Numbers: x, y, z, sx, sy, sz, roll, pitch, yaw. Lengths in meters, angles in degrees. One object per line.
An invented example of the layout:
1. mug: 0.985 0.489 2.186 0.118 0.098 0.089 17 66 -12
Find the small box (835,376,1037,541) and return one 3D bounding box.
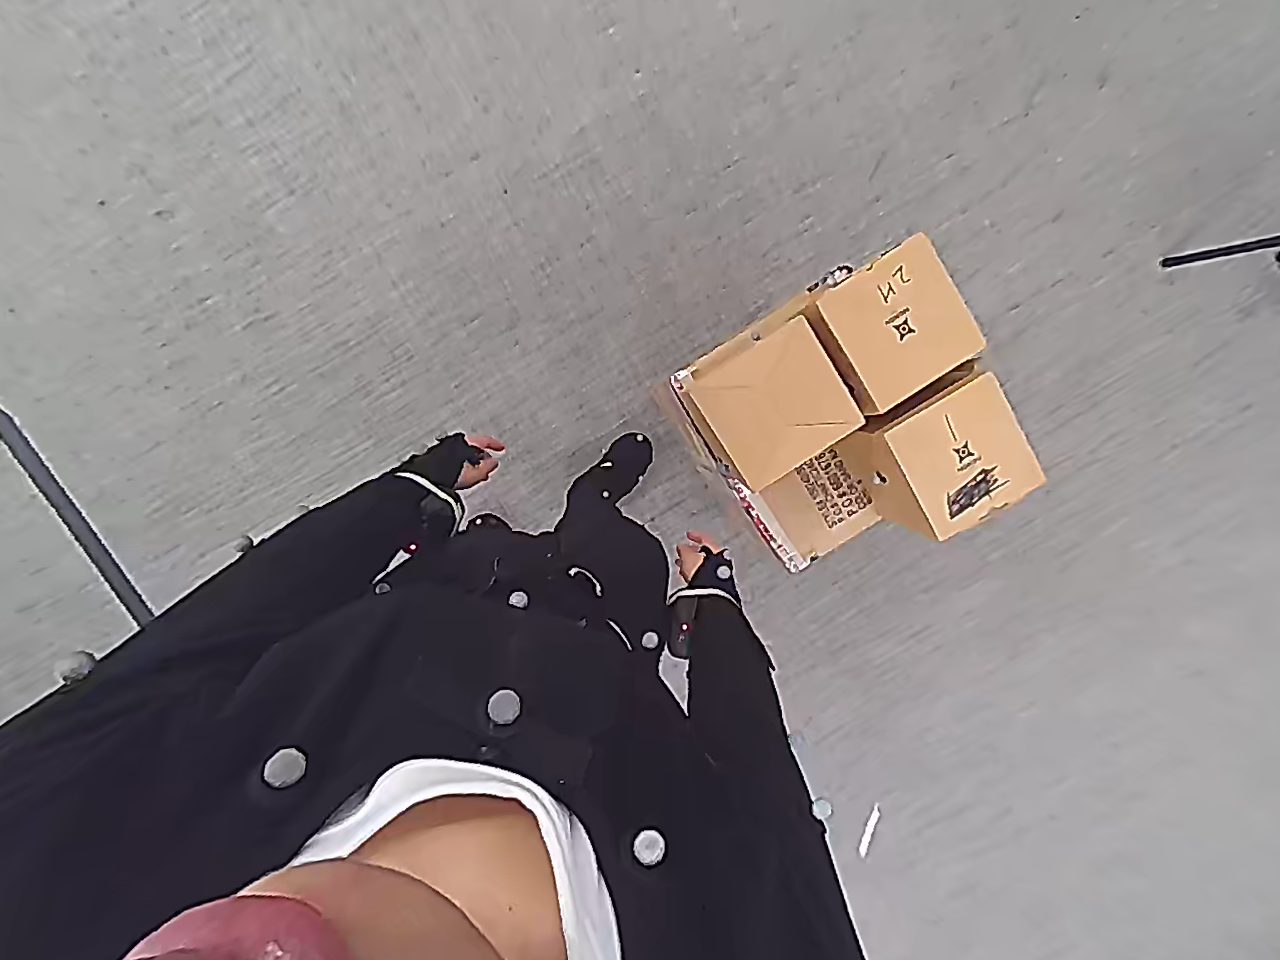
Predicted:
1. small box: 0.426 -0.039 0.806 0.168 0.176 0.179 -31 98 2
